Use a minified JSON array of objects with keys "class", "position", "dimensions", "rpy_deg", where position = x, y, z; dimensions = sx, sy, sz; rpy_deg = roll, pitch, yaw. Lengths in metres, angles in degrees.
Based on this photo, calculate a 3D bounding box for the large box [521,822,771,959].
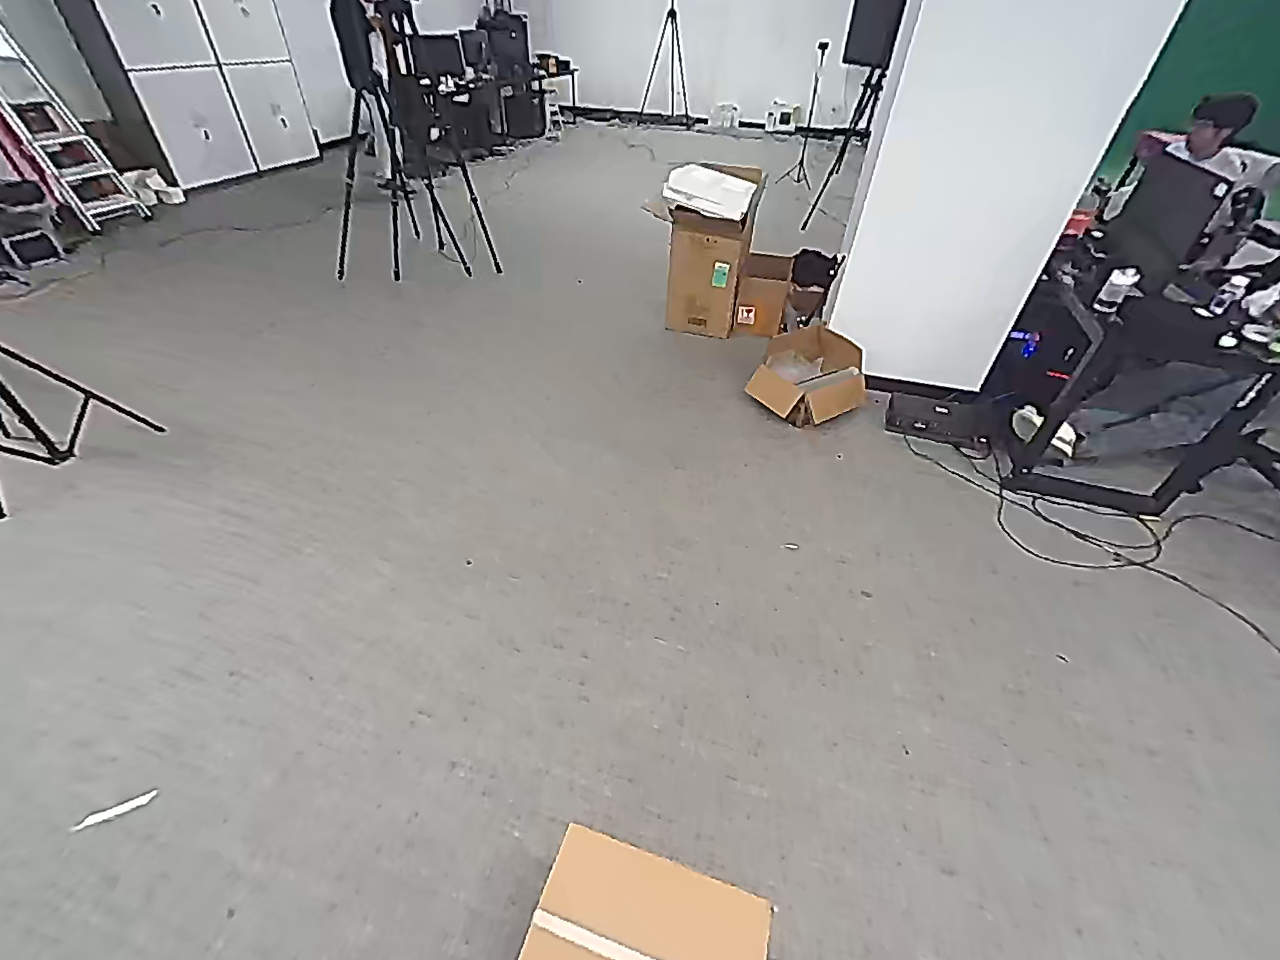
[{"class":"large box","position":[-0.001,0.926,1.019],"dimensions":[0.408,0.320,0.320],"rpy_deg":[14,43,12]}]
